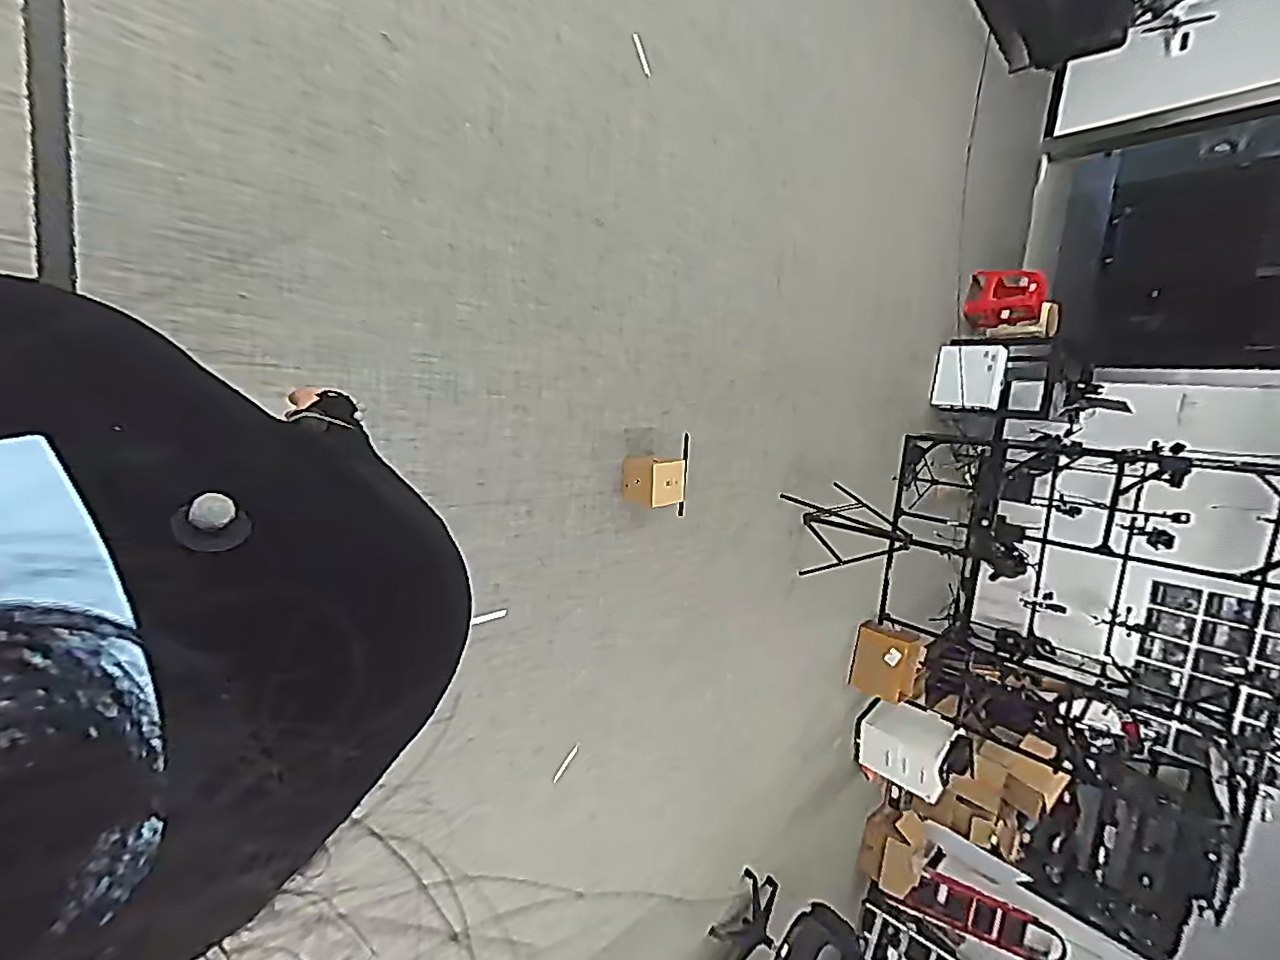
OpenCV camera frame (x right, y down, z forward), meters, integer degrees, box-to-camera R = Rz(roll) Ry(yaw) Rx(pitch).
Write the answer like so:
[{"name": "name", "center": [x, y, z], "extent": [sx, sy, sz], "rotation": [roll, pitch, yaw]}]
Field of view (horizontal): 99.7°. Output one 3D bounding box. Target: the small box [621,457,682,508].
[{"name": "small box", "center": [0.040, 0.006, 2.090], "extent": [0.179, 0.176, 0.168], "rotation": [-9, 105, -44]}]
